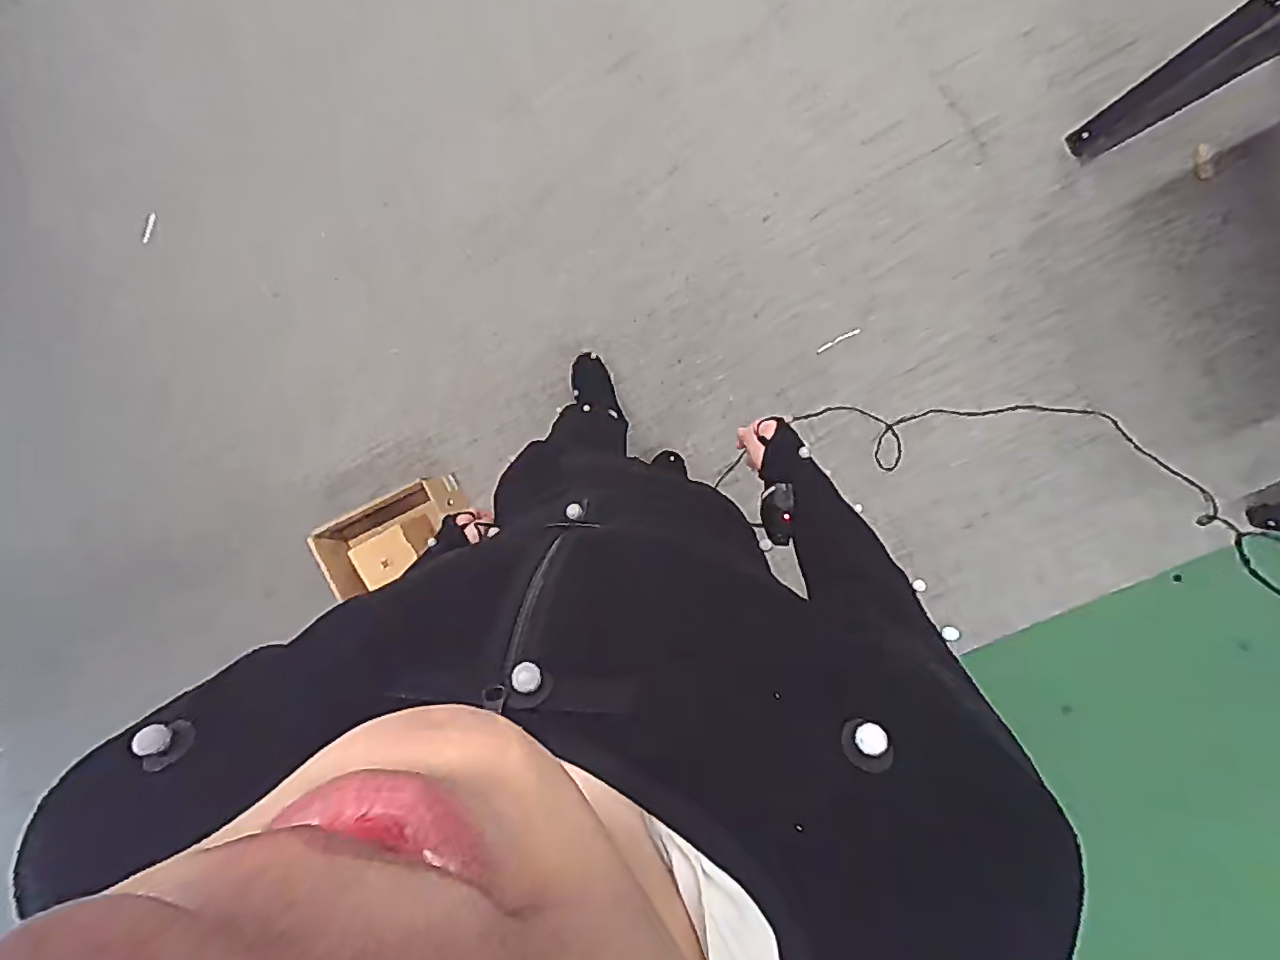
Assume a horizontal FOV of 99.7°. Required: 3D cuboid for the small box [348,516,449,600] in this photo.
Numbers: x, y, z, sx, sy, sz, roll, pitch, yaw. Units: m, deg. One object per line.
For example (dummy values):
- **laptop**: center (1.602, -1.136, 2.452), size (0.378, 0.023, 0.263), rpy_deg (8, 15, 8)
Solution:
- **small box**: center (-0.697, 0.223, 1.581), size (0.179, 0.176, 0.168), rpy_deg (-28, 93, 6)
